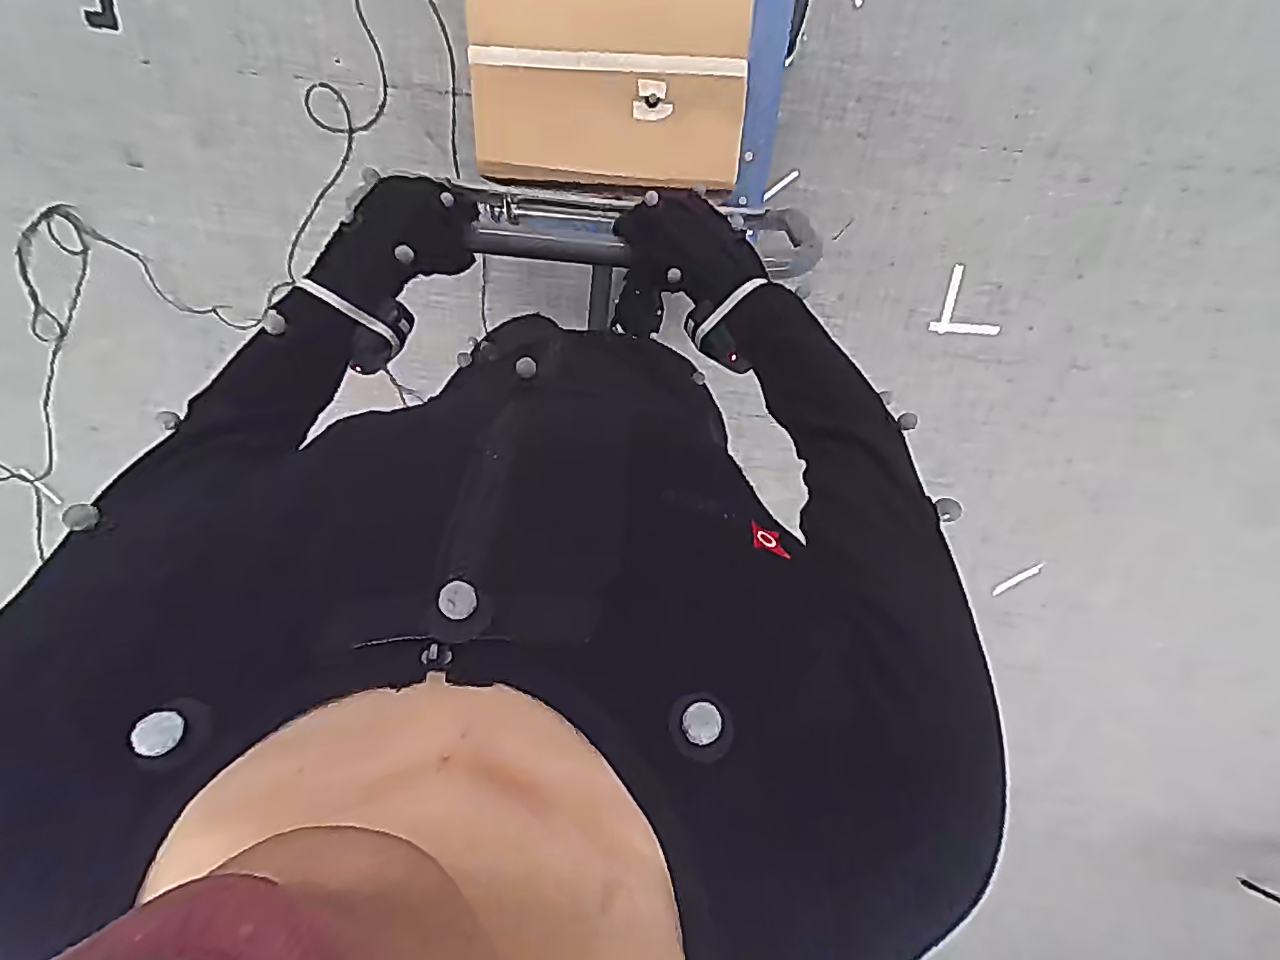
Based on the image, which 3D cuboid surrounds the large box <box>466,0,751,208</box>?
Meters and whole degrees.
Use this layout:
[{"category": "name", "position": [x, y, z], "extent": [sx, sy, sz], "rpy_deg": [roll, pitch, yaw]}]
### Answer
[{"category": "large box", "position": [-0.047, -0.653, 0.916], "extent": [0.408, 0.320, 0.320], "rpy_deg": [3, 113, 0]}]
